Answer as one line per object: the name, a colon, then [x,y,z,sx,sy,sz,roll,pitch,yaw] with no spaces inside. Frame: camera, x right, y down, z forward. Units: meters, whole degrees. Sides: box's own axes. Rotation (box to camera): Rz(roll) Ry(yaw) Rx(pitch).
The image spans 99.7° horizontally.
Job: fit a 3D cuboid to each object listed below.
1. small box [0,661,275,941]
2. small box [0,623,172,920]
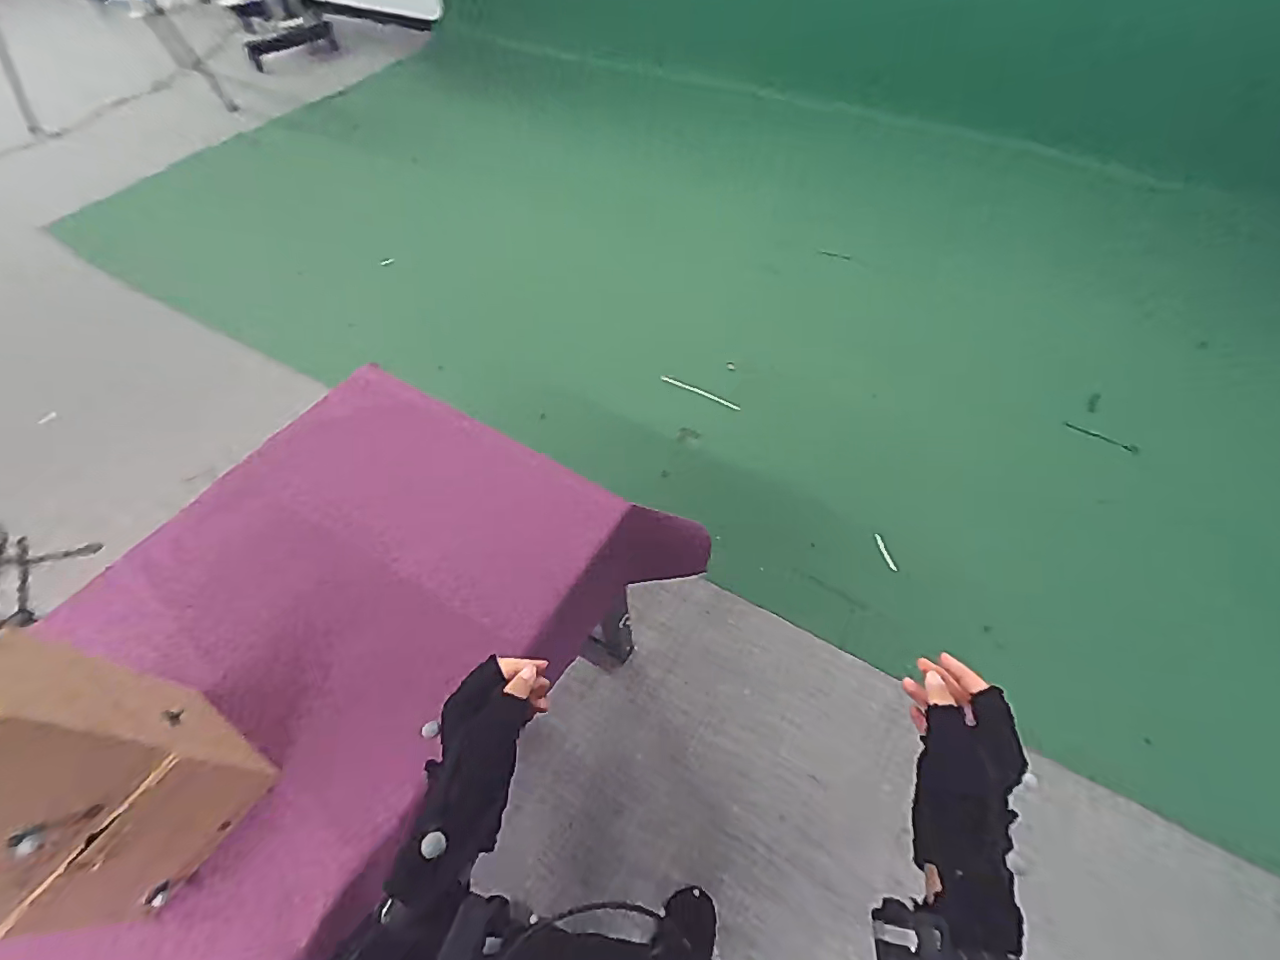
small box: [-0.541,0.327,0.569,0.179,0.176,0.168,27,60,20]
small box: [-0.553,0.229,0.437,0.179,0.176,0.168,27,60,19]
